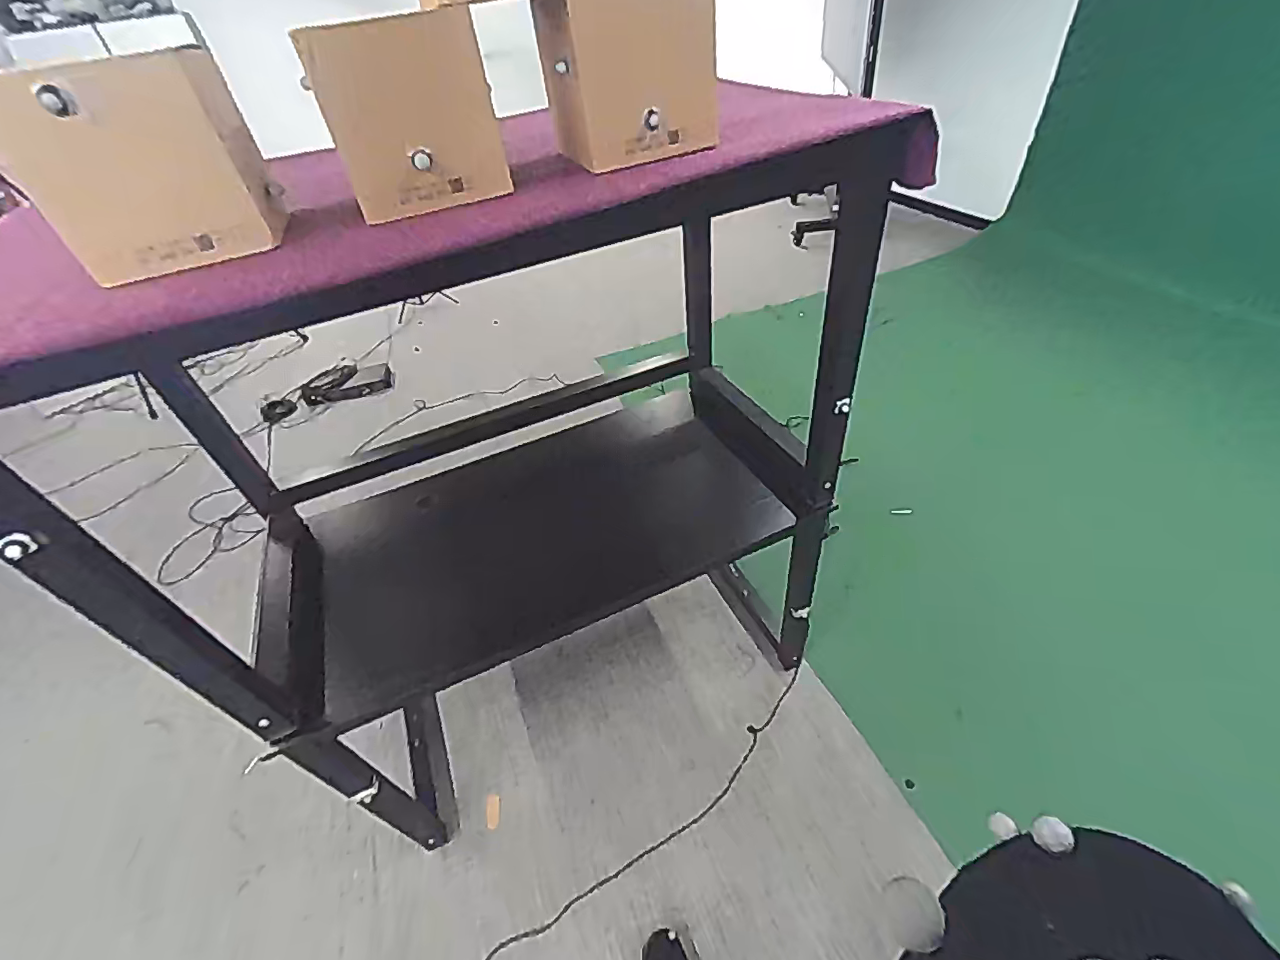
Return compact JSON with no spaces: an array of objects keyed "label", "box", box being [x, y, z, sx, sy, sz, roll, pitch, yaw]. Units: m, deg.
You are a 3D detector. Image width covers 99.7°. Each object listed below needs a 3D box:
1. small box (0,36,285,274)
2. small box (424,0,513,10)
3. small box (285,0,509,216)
[{"label":"small box","box":[-0.491,-0.328,0.547,0.168,0.176,0.179,-21,43,-13]},{"label":"small box","box":[-0.152,-0.578,0.527,0.168,0.176,0.179,-20,42,-12]},{"label":"small box","box":[-0.261,-0.414,0.606,0.168,0.176,0.179,-20,44,-13]}]
